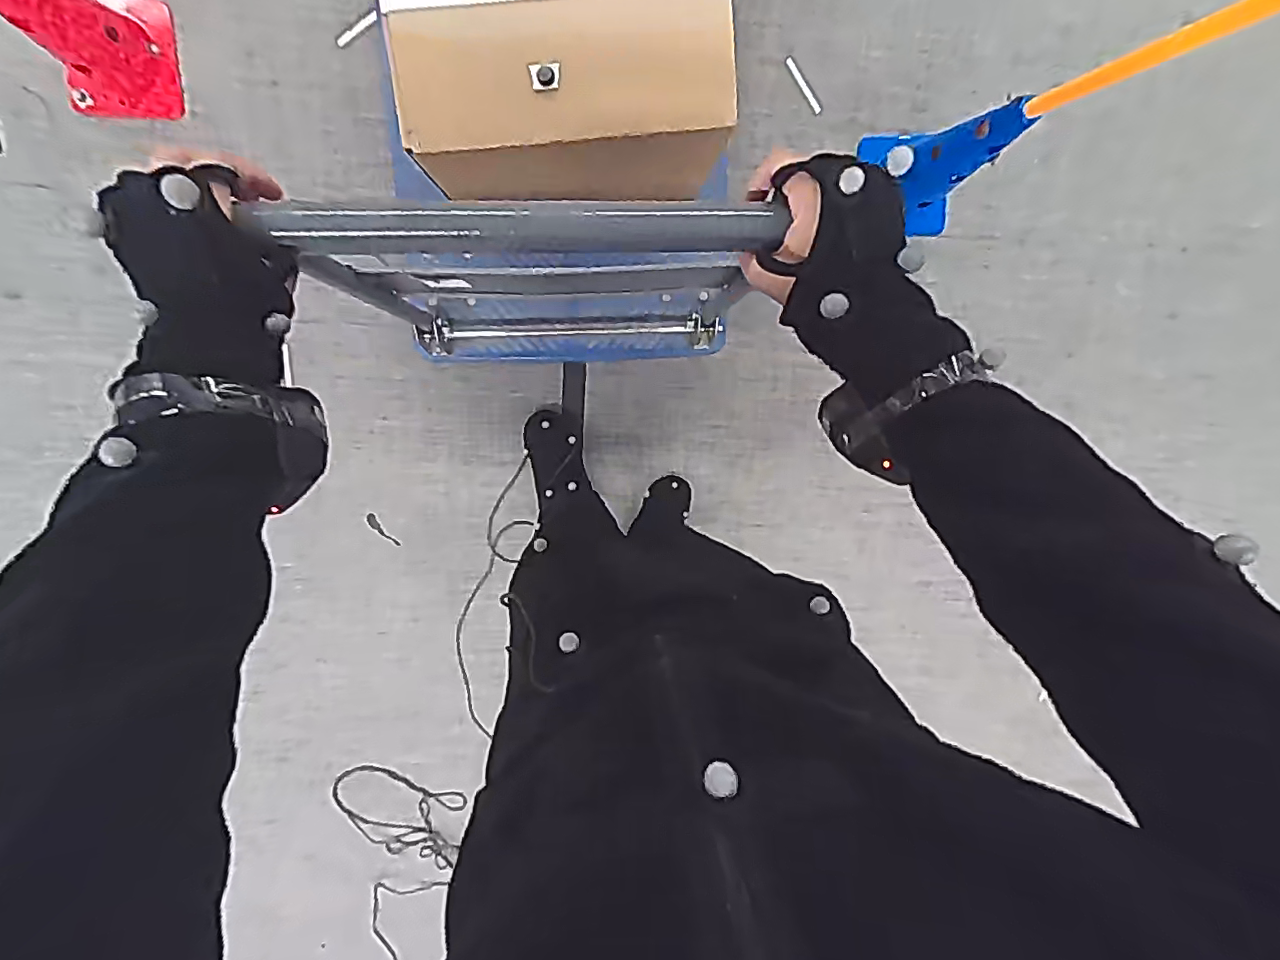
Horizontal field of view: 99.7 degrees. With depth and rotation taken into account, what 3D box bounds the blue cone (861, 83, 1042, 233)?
[{"bbox_3d":[0.576,-0.600,0.995,0.193,0.380,0.192,-2,101,-4],"label":"blue cone"}]
